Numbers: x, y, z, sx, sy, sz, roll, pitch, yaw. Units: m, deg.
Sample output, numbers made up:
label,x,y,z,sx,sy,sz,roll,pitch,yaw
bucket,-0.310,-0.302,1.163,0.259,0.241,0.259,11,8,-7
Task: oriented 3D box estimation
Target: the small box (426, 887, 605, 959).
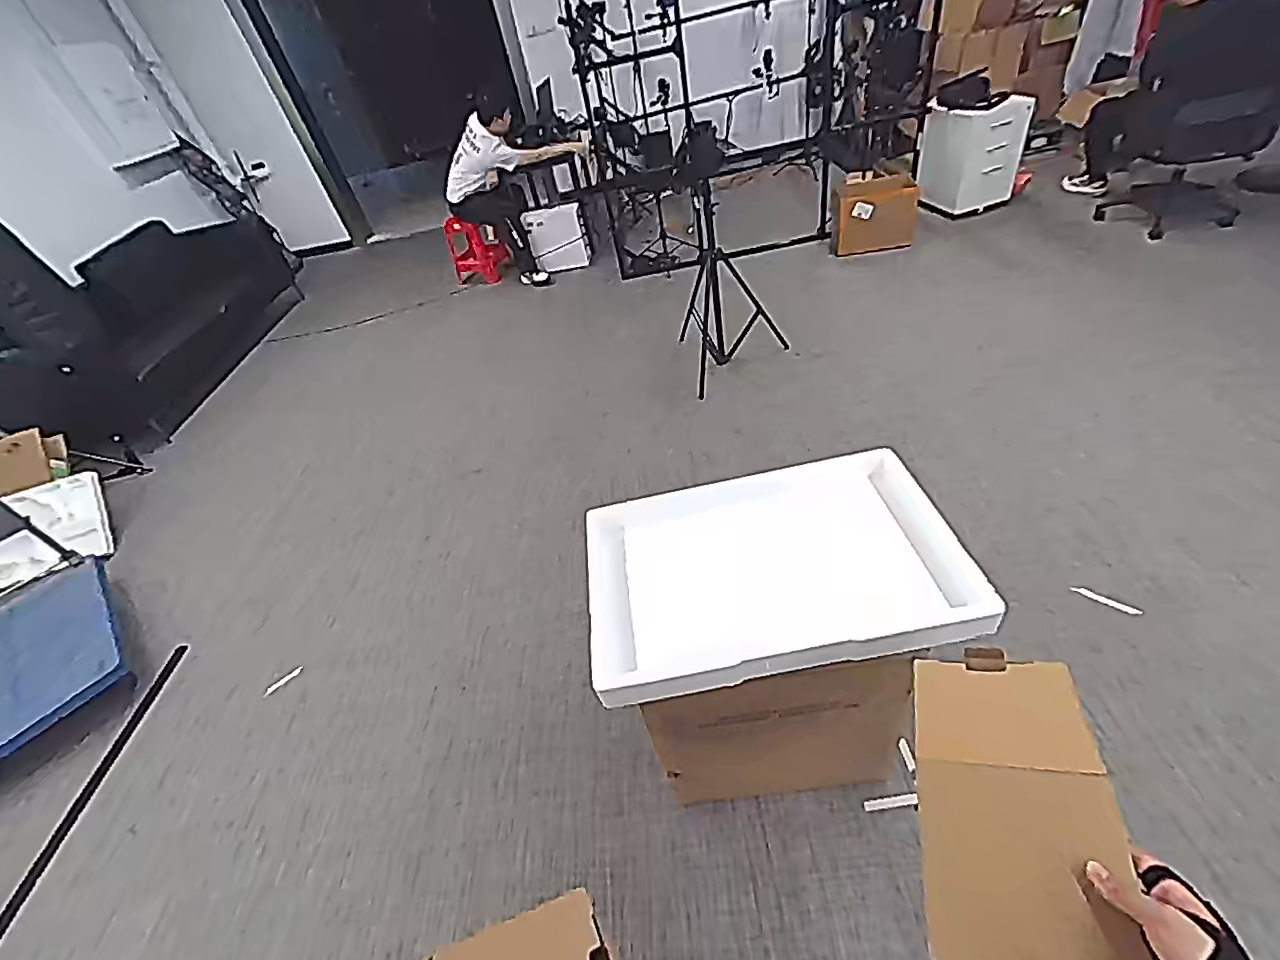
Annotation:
label,x,y,z,sx,sy,sz,roll,pitch,yaw
small box,-0.127,0.585,0.564,0.179,0.176,0.168,-3,36,-31
